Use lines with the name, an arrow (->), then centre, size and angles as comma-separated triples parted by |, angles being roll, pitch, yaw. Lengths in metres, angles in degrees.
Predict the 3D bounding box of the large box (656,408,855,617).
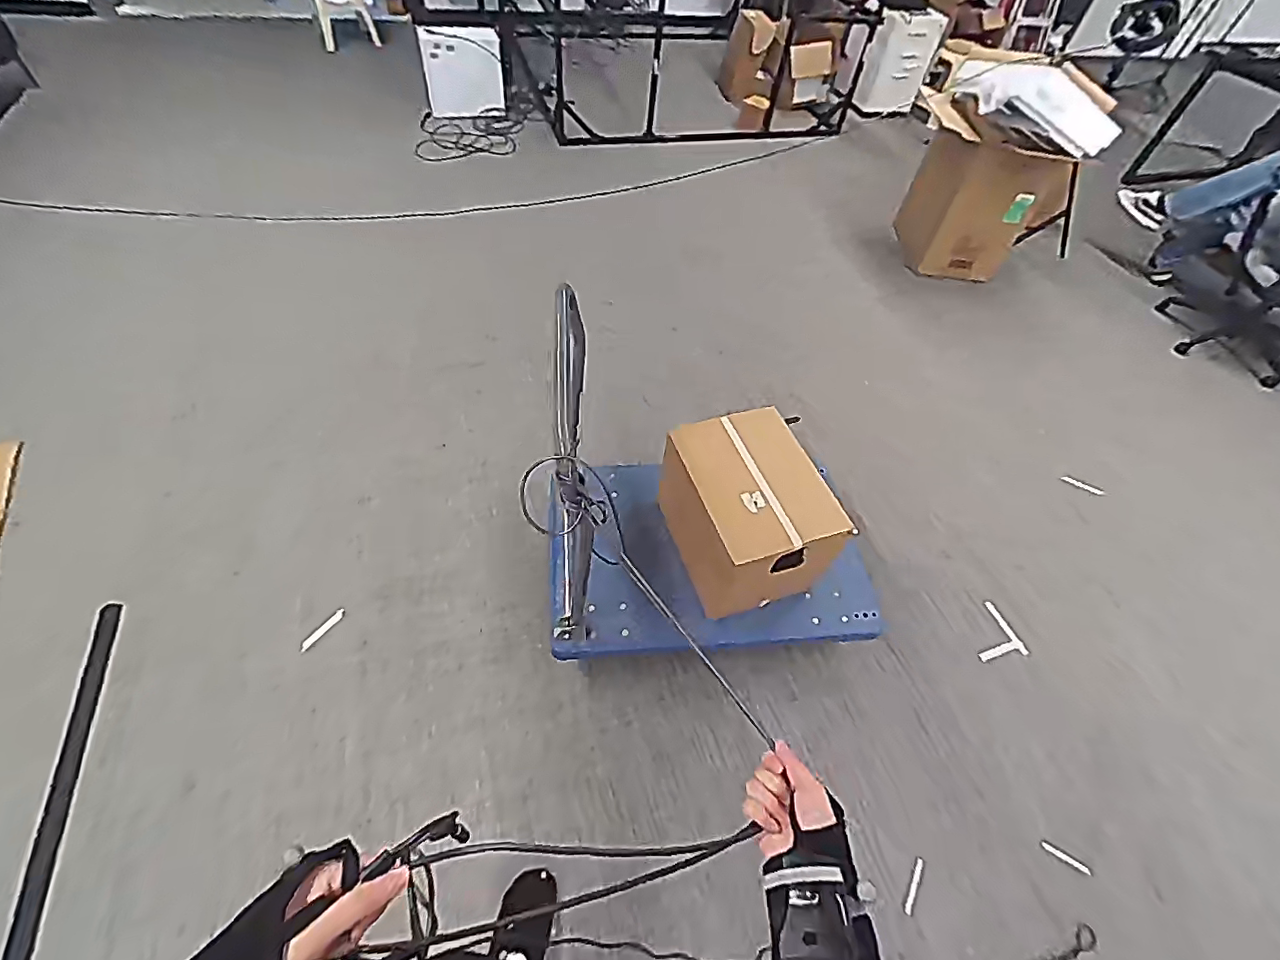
large box -> 0.265, 0.082, 1.405 | 0.320, 0.320, 0.408 | -14, 57, -14
